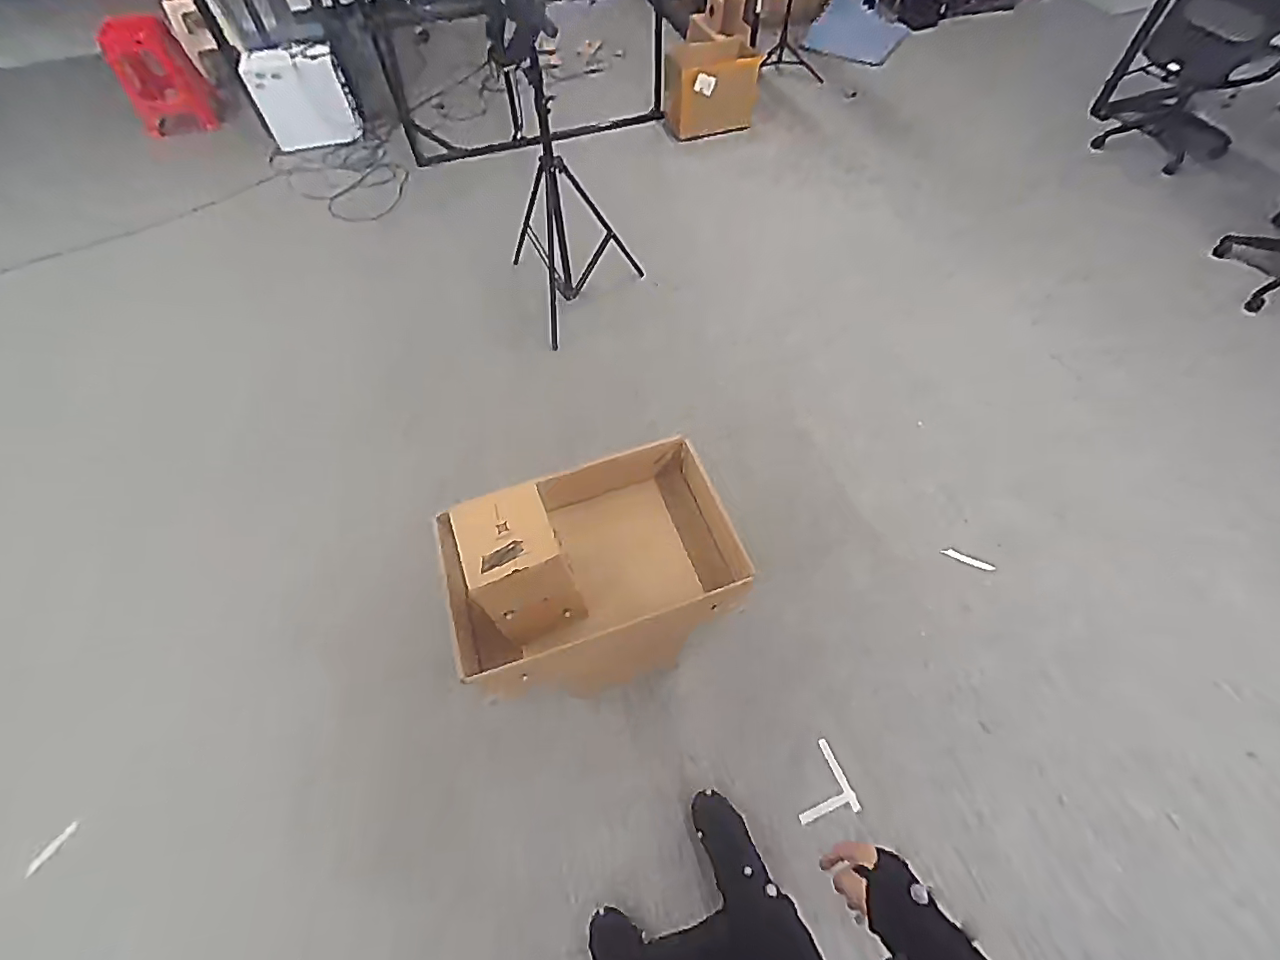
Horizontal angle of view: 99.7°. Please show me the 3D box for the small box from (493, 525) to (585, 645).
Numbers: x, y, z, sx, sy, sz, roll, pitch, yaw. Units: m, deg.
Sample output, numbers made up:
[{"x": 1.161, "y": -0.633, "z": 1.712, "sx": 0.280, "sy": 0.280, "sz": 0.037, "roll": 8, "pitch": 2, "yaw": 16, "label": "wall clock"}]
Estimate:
[{"x": -0.225, "y": 0.229, "z": 1.160, "sx": 0.179, "sy": 0.176, "sz": 0.168, "roll": -22, "pitch": 59, "yaw": -10, "label": "small box"}]

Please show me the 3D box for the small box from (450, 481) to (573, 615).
[{"x": -0.237, "y": 0.138, "z": 1.025, "sx": 0.168, "sy": 0.176, "sz": 0.179, "roll": -21, "pitch": 58, "yaw": -10, "label": "small box"}]
